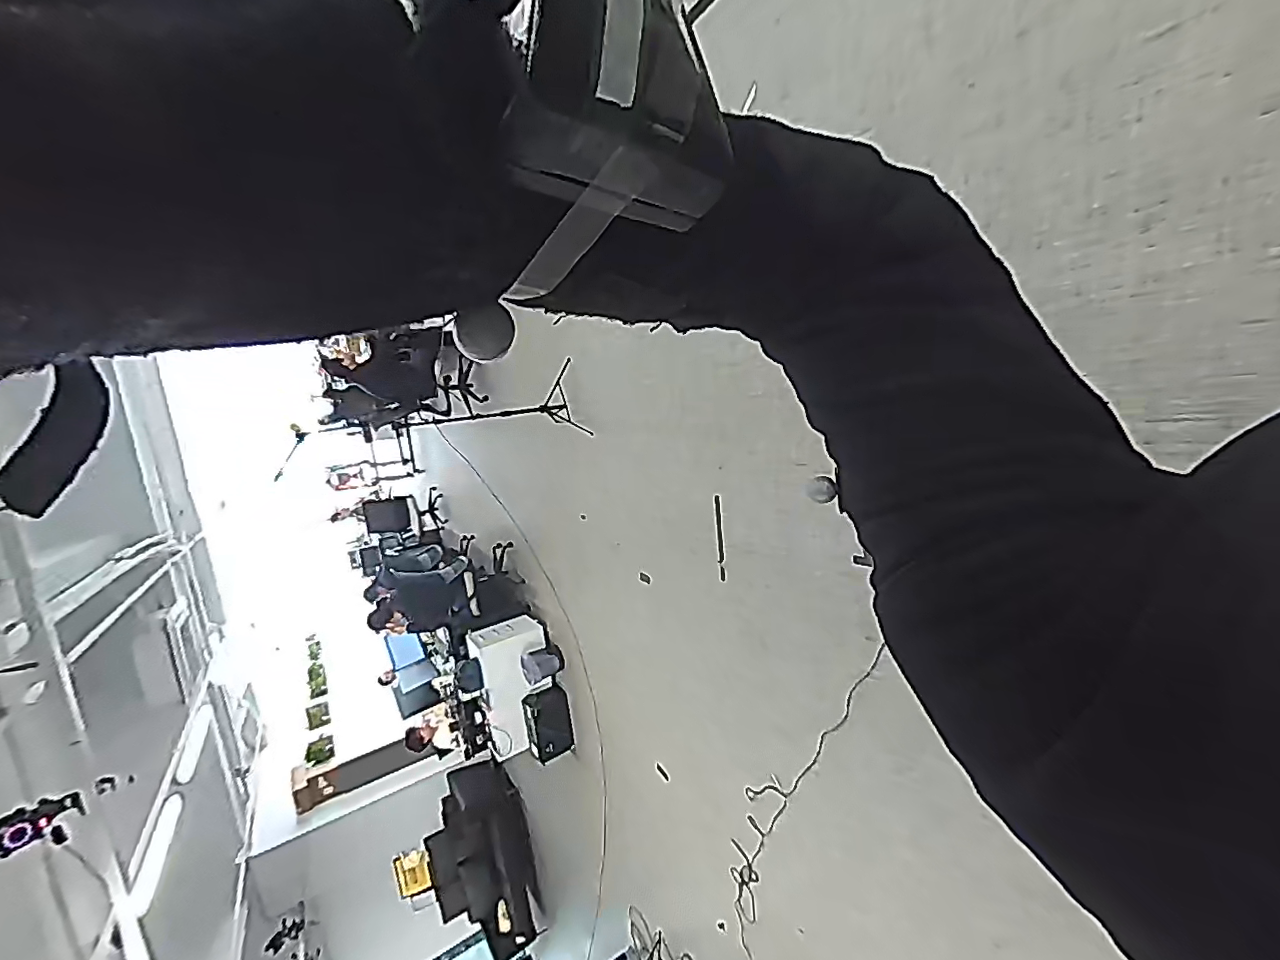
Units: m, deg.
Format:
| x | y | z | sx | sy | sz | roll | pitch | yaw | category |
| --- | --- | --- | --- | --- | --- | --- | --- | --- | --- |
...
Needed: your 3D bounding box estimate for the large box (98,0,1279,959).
| x | y | z | sx | sy | sz | roll | pitch | yaw | category |
| --- | --- | --- | --- | --- | --- | --- | --- | --- | --- |
| 0.116 | 0.063 | 0.155 | 0.408 | 0.320 | 0.320 | 13 | -116 | 53 | large box |
